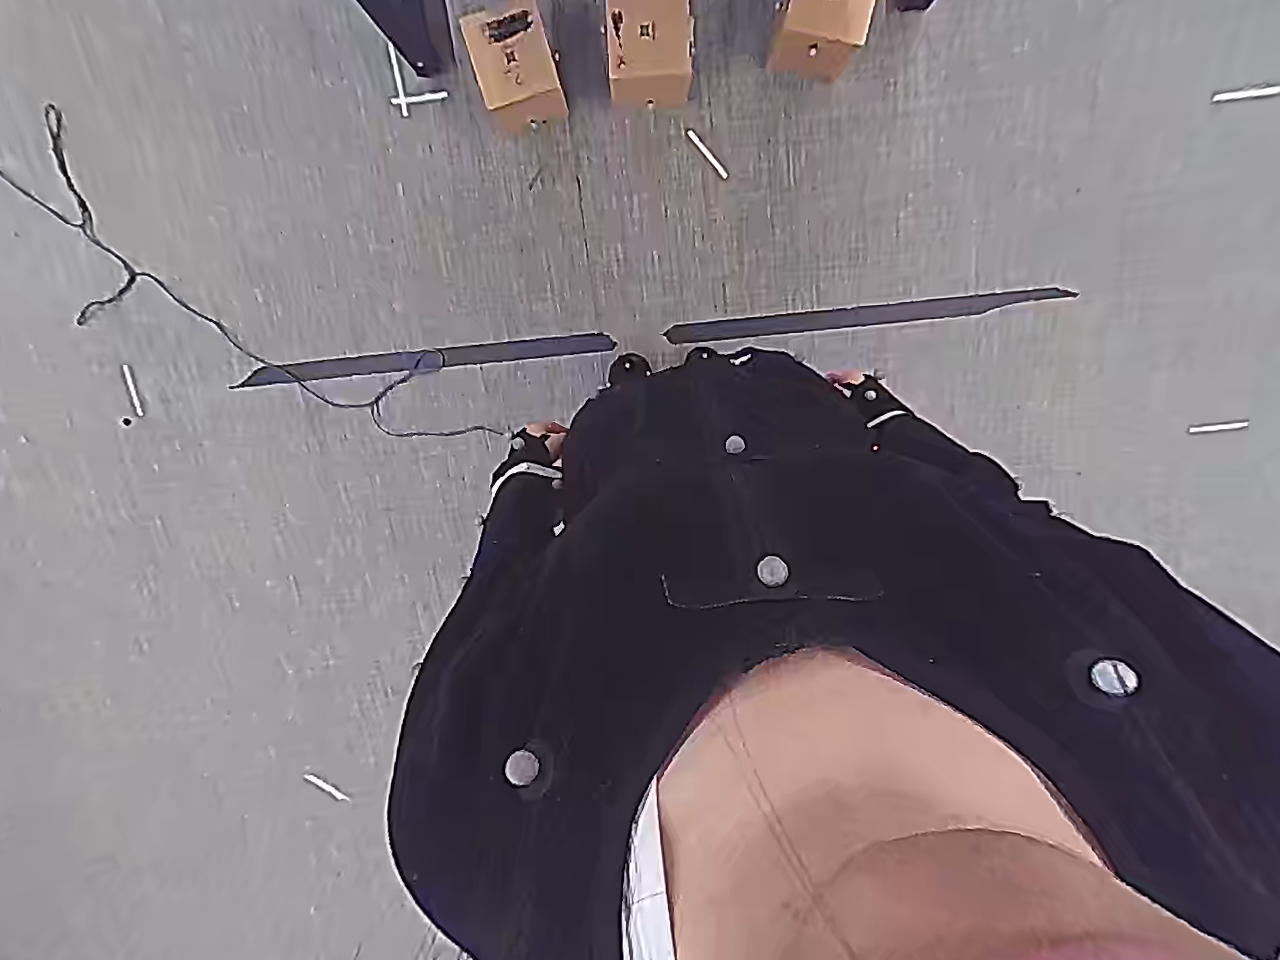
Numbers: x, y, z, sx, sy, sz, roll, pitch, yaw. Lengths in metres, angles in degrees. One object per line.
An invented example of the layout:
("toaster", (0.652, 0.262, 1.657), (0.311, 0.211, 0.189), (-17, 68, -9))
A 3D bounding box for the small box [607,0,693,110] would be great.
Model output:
("small box", (0.021, -0.940, 1.190), (0.179, 0.176, 0.168), (-2, 104, 1))

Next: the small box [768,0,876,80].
("small box", (0.395, -1.006, 1.171), (0.179, 0.176, 0.168), (11, 105, -1))
